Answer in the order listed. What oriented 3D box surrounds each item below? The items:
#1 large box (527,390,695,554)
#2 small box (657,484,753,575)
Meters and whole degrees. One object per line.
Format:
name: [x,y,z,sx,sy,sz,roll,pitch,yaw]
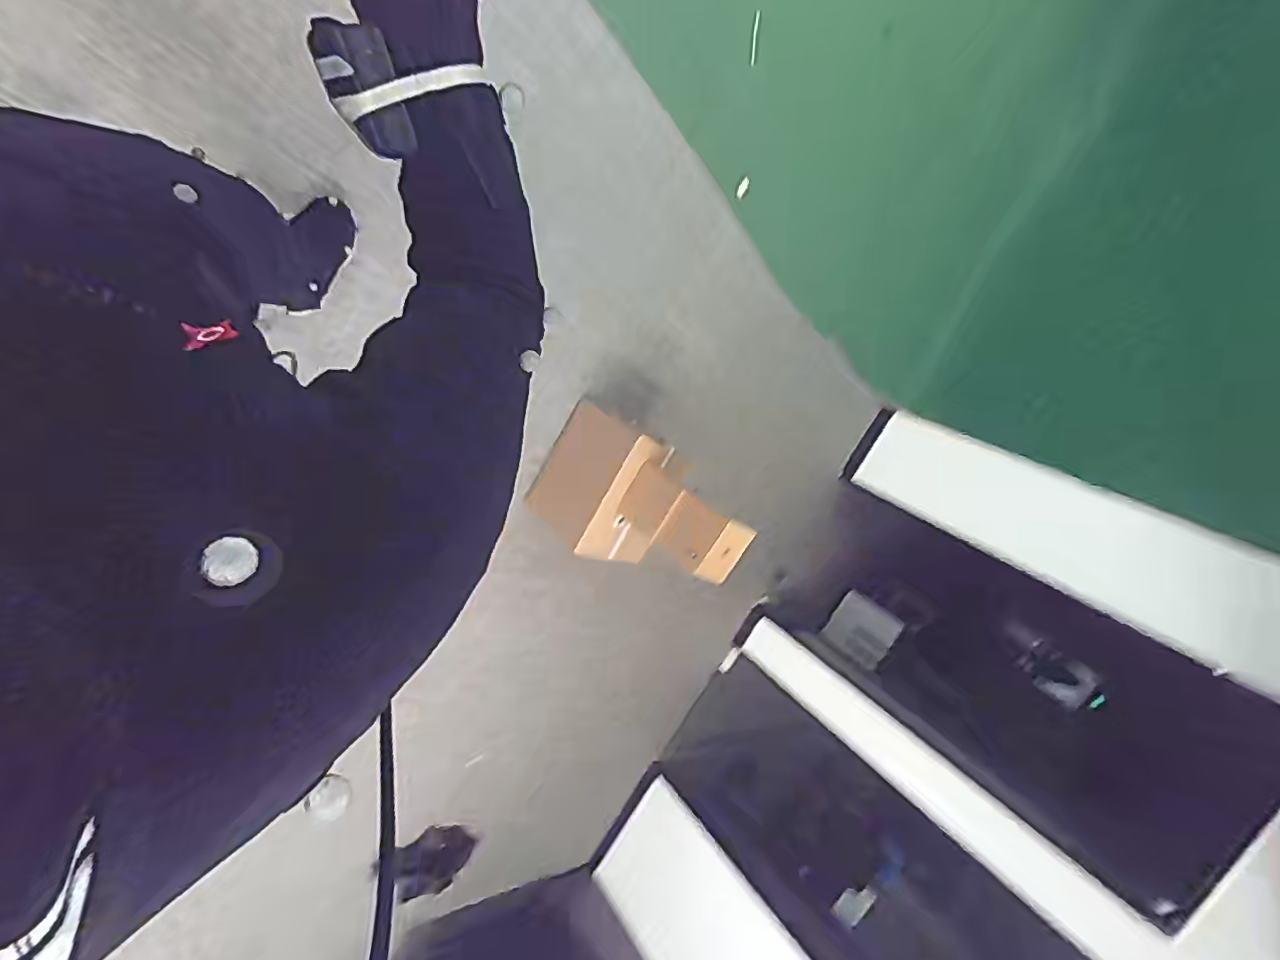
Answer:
large box: [-0.100,-0.023,1.766,0.320,0.320,0.408,20,104,-48]
small box: [0.178,0.136,1.510,0.168,0.176,0.179,26,99,-50]
